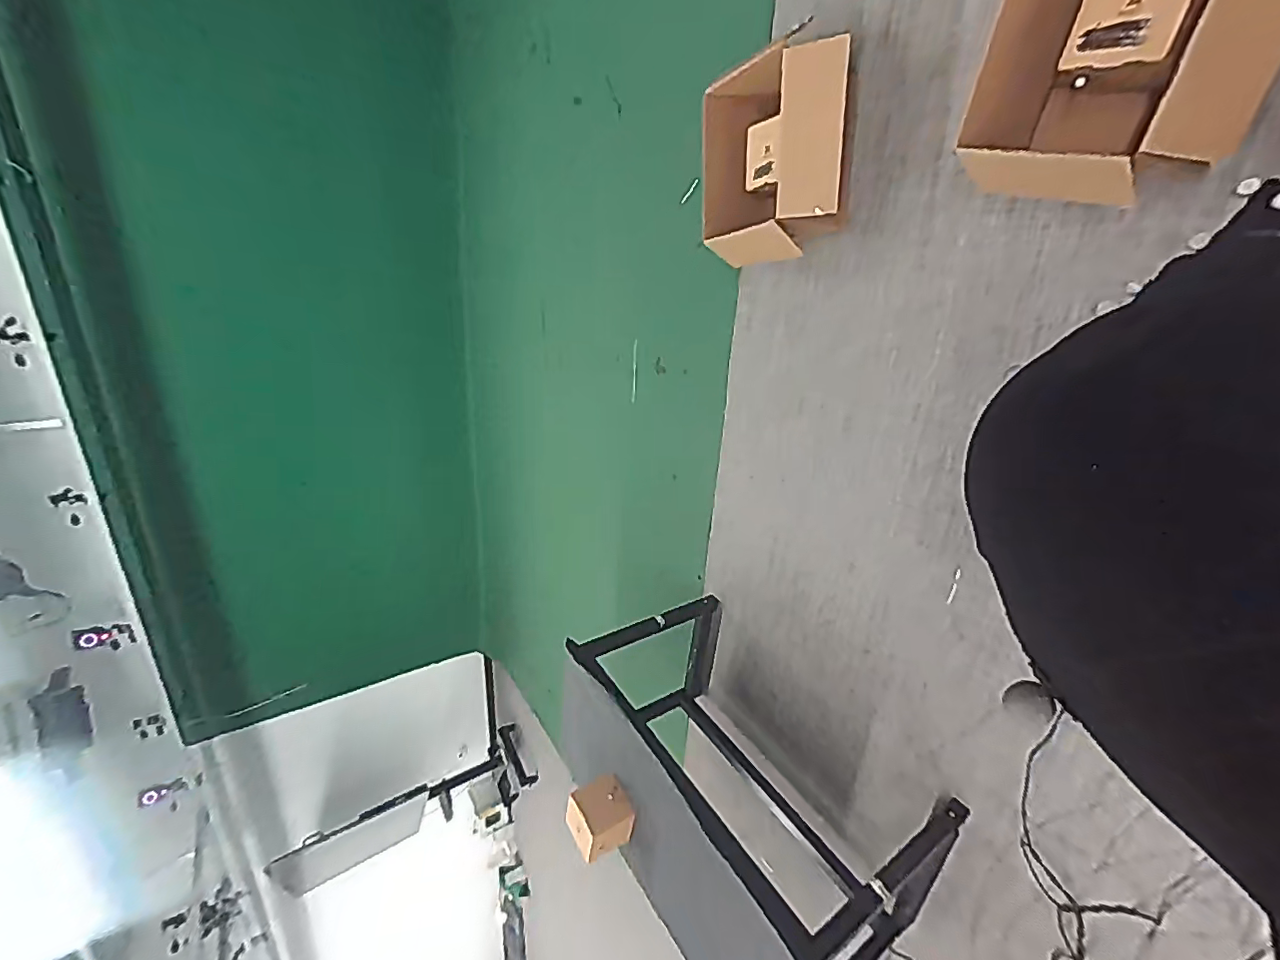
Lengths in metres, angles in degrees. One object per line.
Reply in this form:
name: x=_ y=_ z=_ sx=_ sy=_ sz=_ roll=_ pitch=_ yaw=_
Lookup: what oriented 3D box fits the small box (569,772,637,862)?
small box: x=-0.127 y=1.151 z=1.857 sx=0.168 sy=0.176 sz=0.179 roll=42 pitch=132 yaw=43
